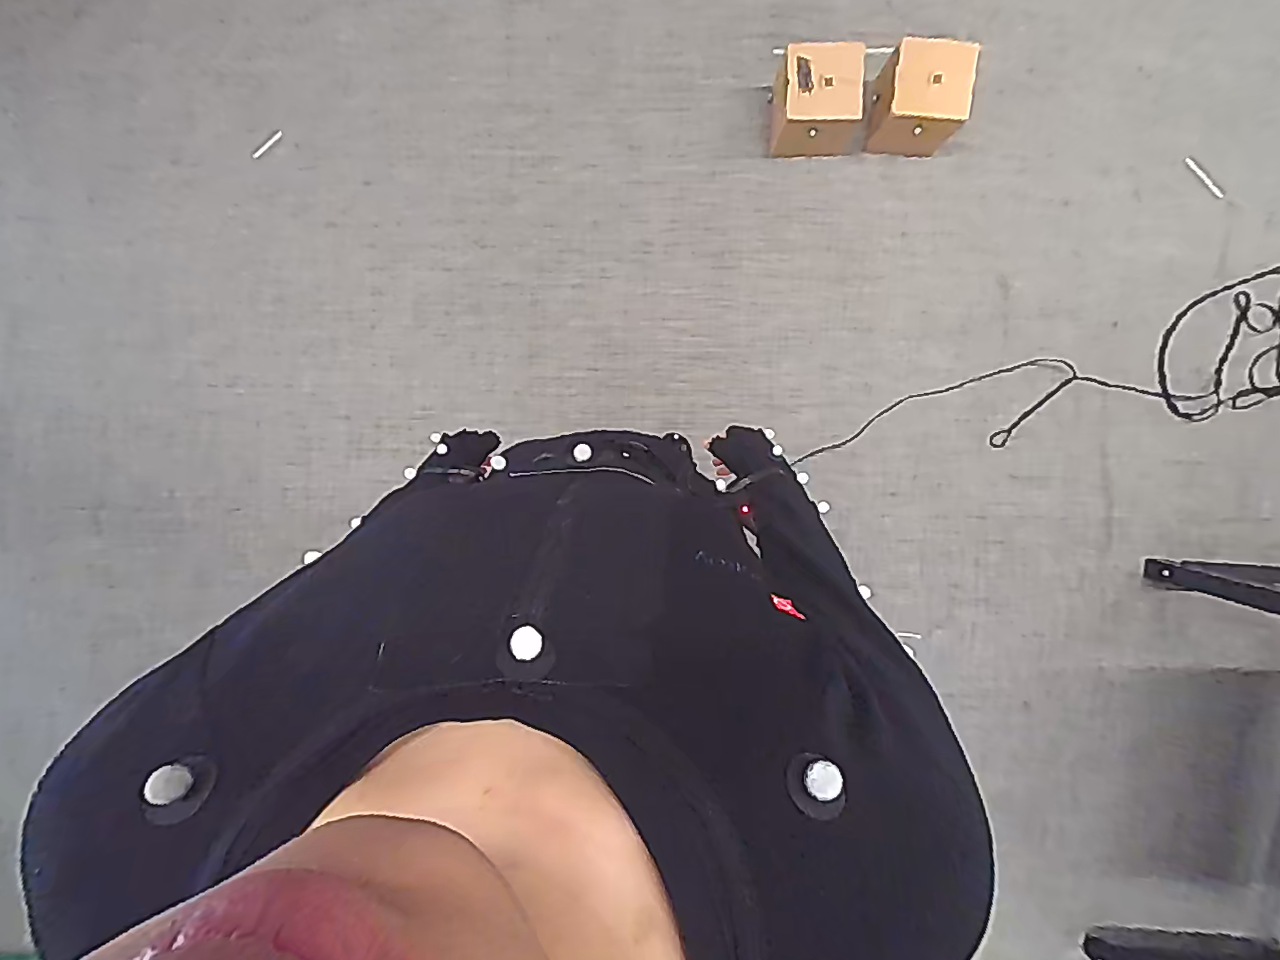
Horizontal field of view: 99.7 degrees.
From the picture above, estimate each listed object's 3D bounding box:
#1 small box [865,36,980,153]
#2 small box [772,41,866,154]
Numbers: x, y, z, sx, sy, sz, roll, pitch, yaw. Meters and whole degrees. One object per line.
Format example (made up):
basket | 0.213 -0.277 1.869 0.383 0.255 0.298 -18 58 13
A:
small box | 0.664 -0.906 1.287 0.179 0.176 0.168 6 96 2
small box | 0.418 -0.904 1.293 0.179 0.176 0.168 0 96 1
